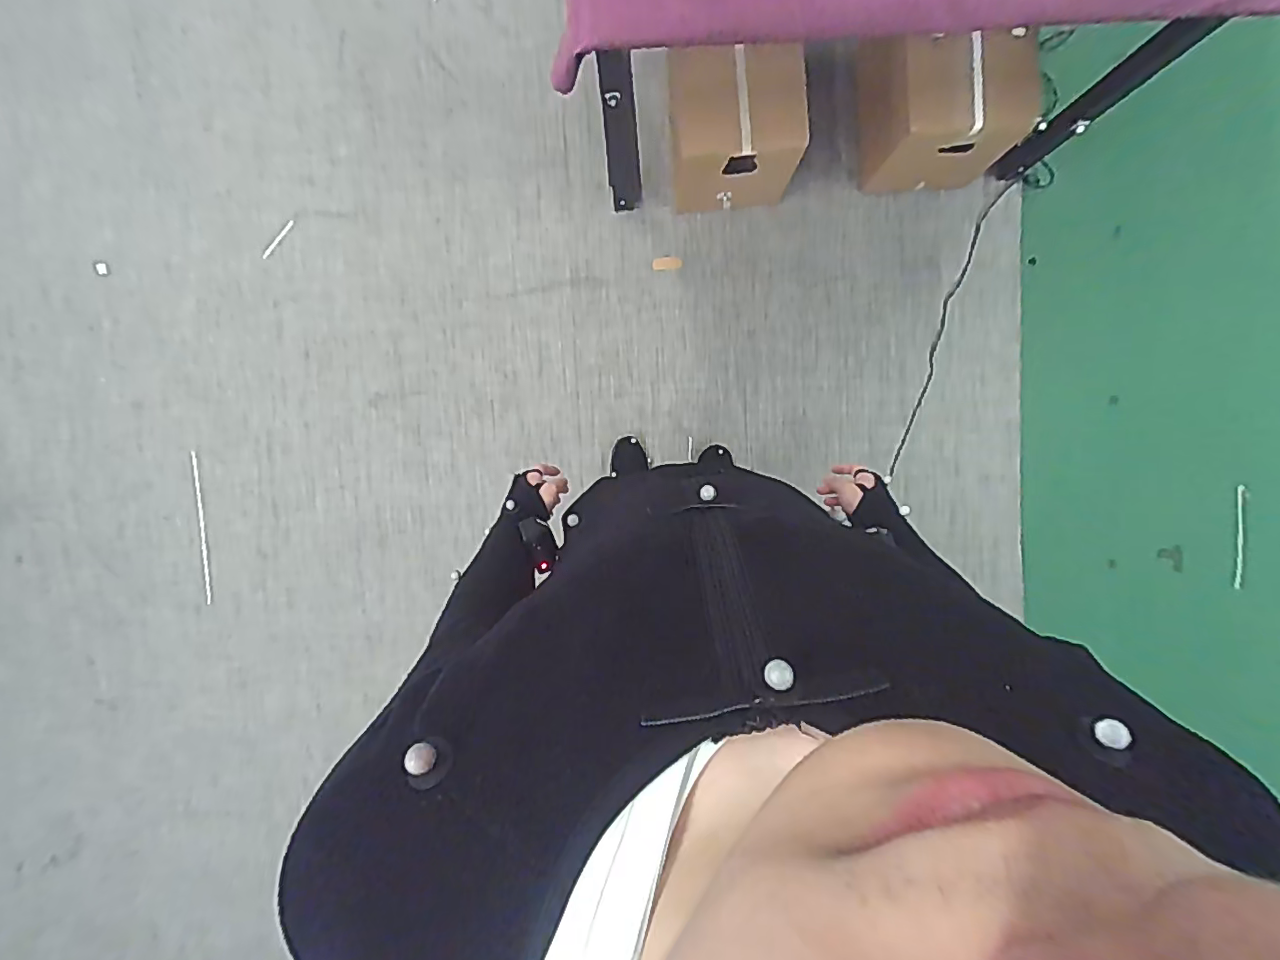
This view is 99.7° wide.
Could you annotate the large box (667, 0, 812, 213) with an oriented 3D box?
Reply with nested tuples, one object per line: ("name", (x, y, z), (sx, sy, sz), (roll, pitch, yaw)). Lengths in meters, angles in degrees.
("large box", (0.244, -0.993, 1.438), (0.320, 0.320, 0.408), (-5, 92, 1))
